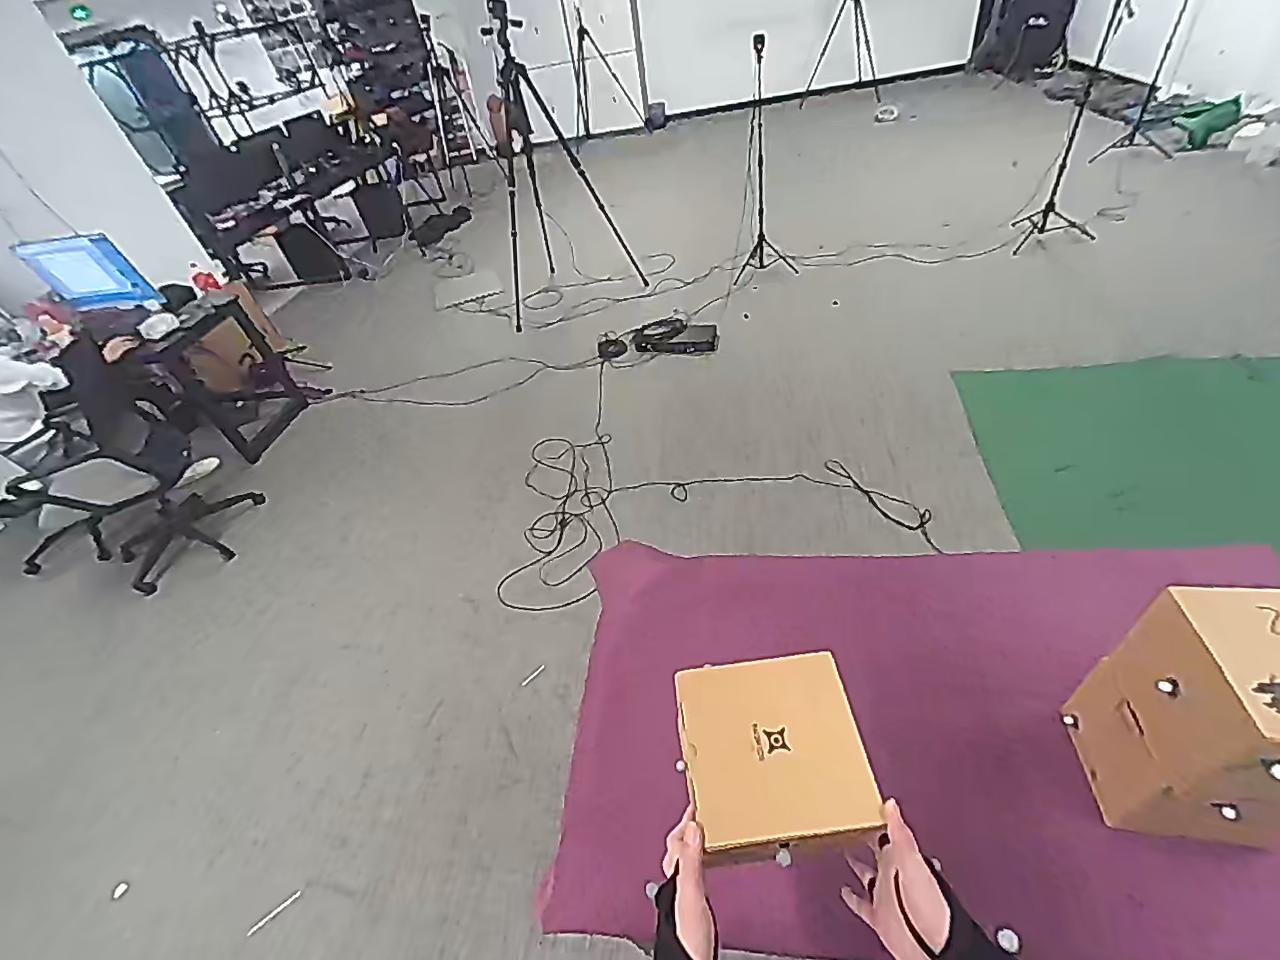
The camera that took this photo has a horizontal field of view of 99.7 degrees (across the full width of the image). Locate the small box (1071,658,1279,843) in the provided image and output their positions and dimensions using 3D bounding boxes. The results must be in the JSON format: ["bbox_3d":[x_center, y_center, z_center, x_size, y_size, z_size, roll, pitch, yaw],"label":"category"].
[{"bbox_3d":[0.713,0.356,0.714,0.179,0.176,0.168,0,43,13],"label":"small box"}]

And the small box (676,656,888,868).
[{"bbox_3d":[0.139,0.315,0.600,0.179,0.176,0.168,-9,49,0],"label":"small box"}]
